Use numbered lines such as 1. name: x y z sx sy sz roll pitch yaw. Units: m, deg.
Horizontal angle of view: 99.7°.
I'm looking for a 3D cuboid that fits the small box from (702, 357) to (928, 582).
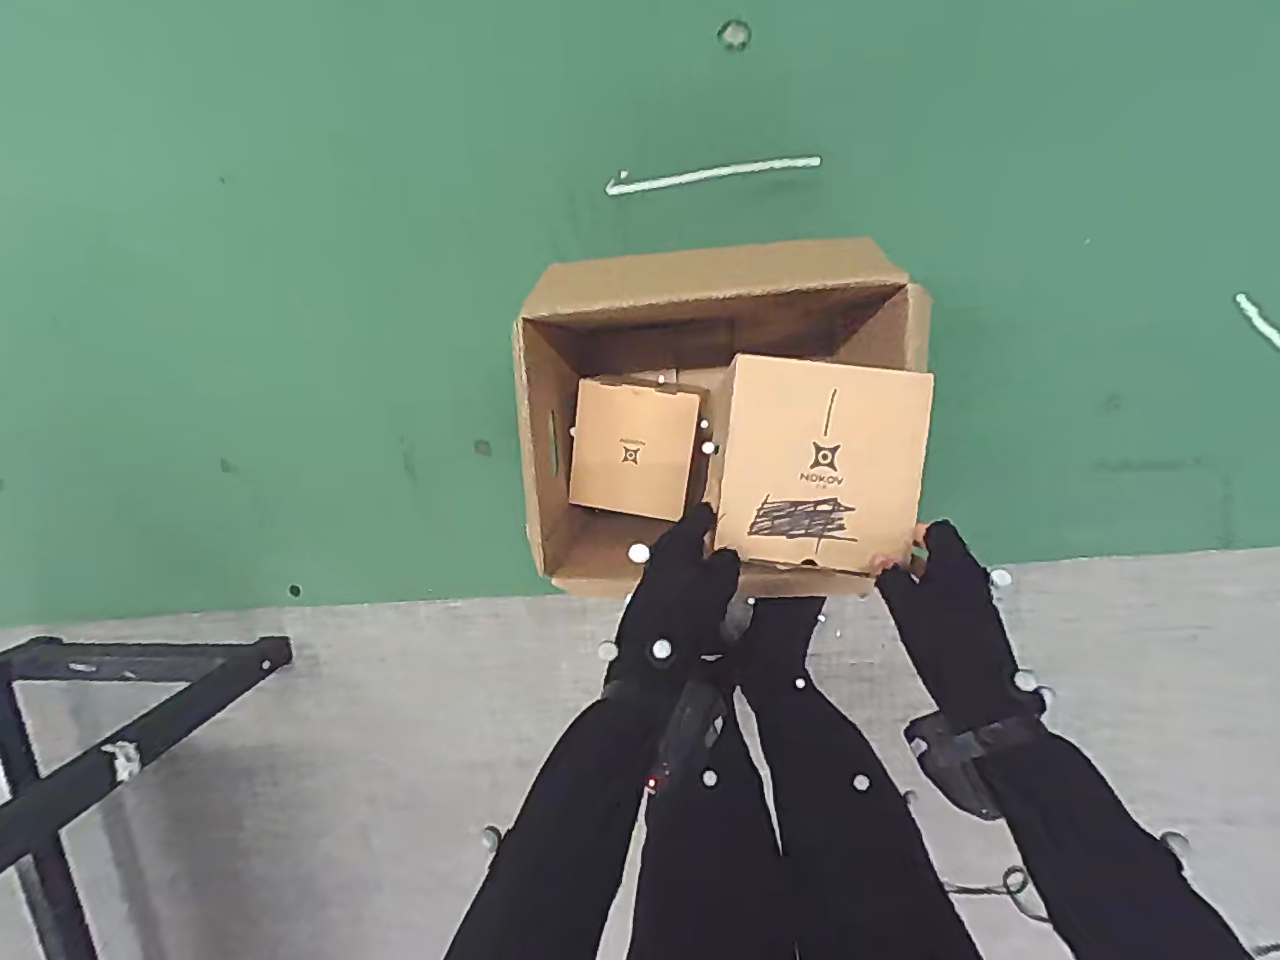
1. small box: 0.155 -0.011 0.539 0.168 0.176 0.179 7 91 3
